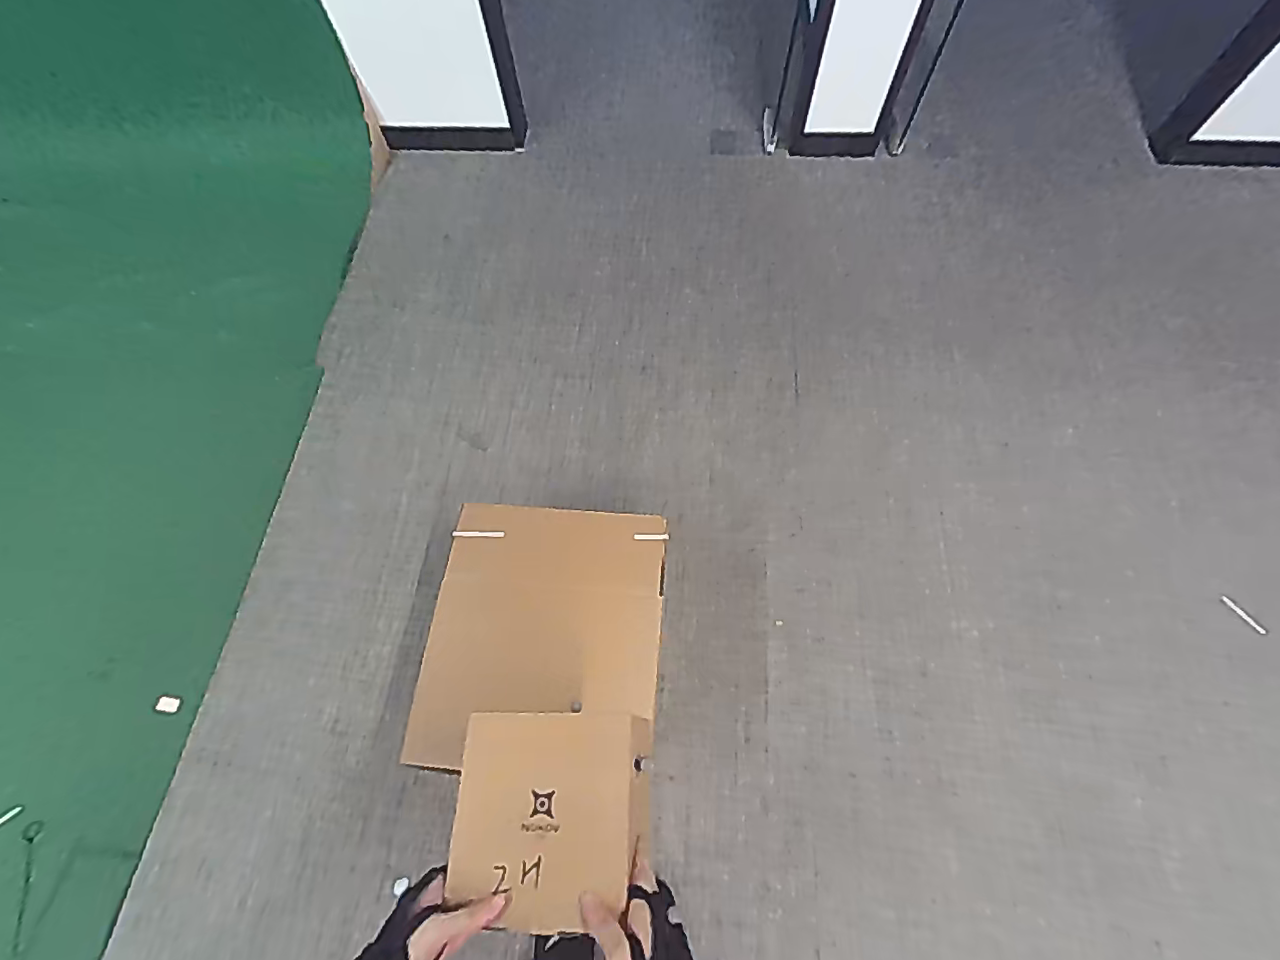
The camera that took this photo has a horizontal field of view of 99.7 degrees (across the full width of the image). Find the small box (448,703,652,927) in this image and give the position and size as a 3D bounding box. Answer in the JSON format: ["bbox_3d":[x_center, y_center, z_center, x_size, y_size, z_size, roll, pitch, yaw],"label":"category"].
[{"bbox_3d":[-0.079,0.341,0.579,0.168,0.176,0.179,-2,64,7],"label":"small box"}]
